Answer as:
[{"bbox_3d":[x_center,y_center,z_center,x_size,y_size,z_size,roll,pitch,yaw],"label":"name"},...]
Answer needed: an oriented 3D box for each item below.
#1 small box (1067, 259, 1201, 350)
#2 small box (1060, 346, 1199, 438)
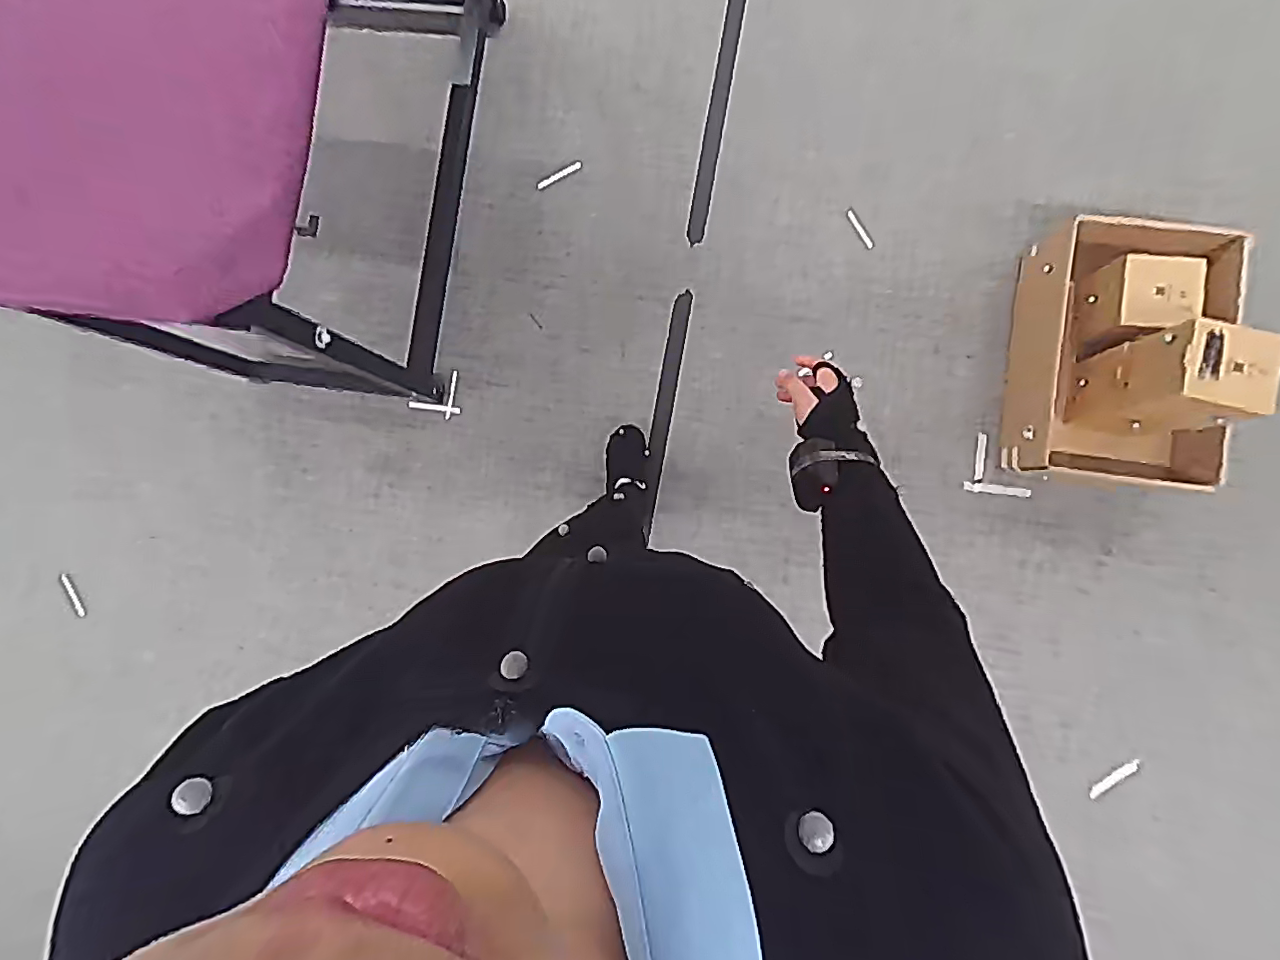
[{"bbox_3d":[1.197,-0.423,1.323,0.179,0.176,0.168,6,90,4],"label":"small box"},{"bbox_3d":[1.184,-0.206,1.318,0.179,0.176,0.168,13,86,5],"label":"small box"}]
